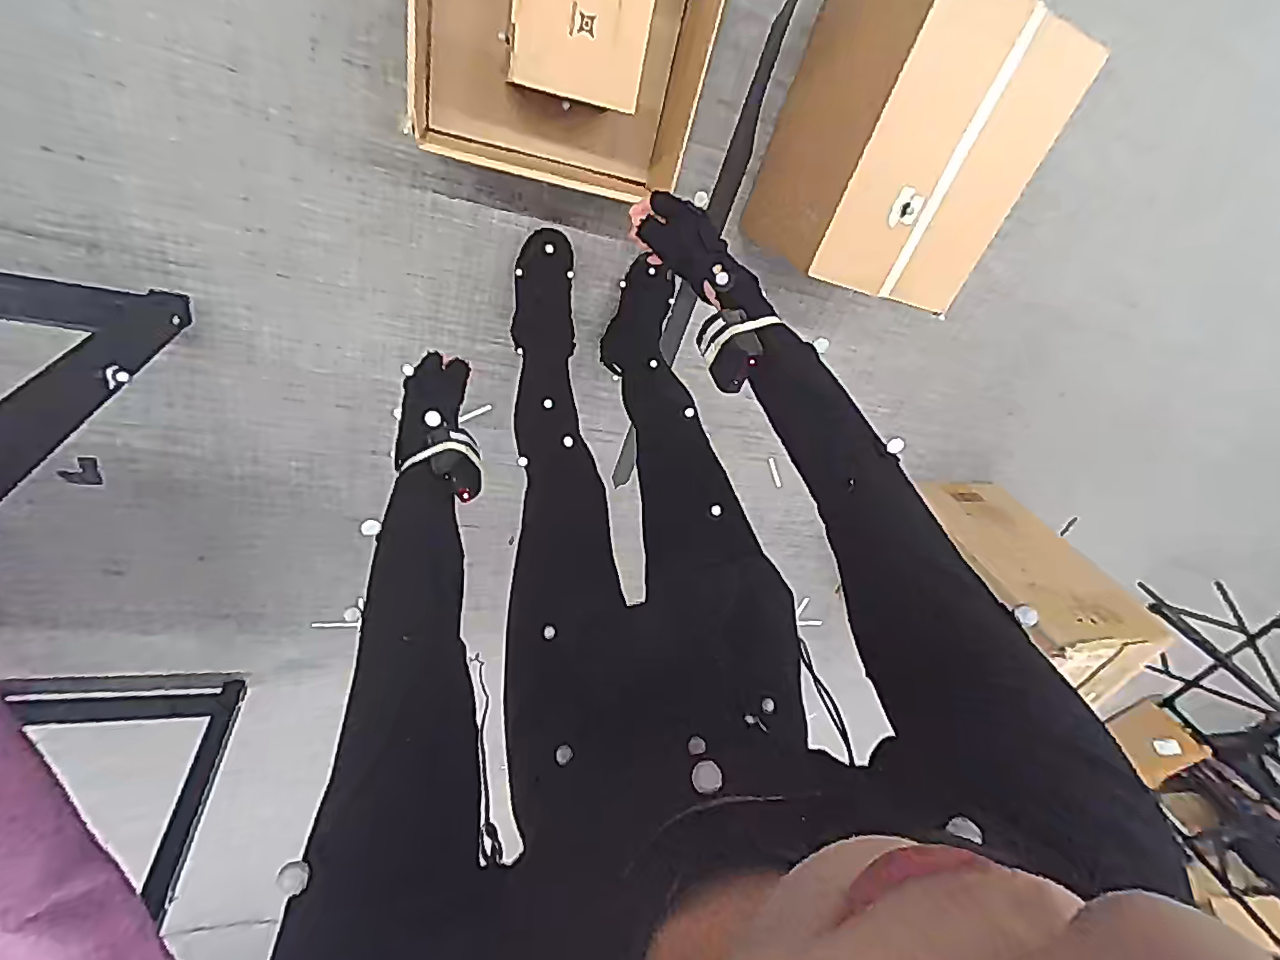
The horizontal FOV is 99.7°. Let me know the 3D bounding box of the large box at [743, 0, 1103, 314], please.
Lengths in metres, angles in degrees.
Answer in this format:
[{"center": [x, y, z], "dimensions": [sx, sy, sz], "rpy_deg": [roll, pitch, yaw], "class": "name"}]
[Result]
[{"center": [0.436, -0.564, 0.937], "dimensions": [0.320, 0.320, 0.408], "rpy_deg": [7, 126, -20], "class": "large box"}]
